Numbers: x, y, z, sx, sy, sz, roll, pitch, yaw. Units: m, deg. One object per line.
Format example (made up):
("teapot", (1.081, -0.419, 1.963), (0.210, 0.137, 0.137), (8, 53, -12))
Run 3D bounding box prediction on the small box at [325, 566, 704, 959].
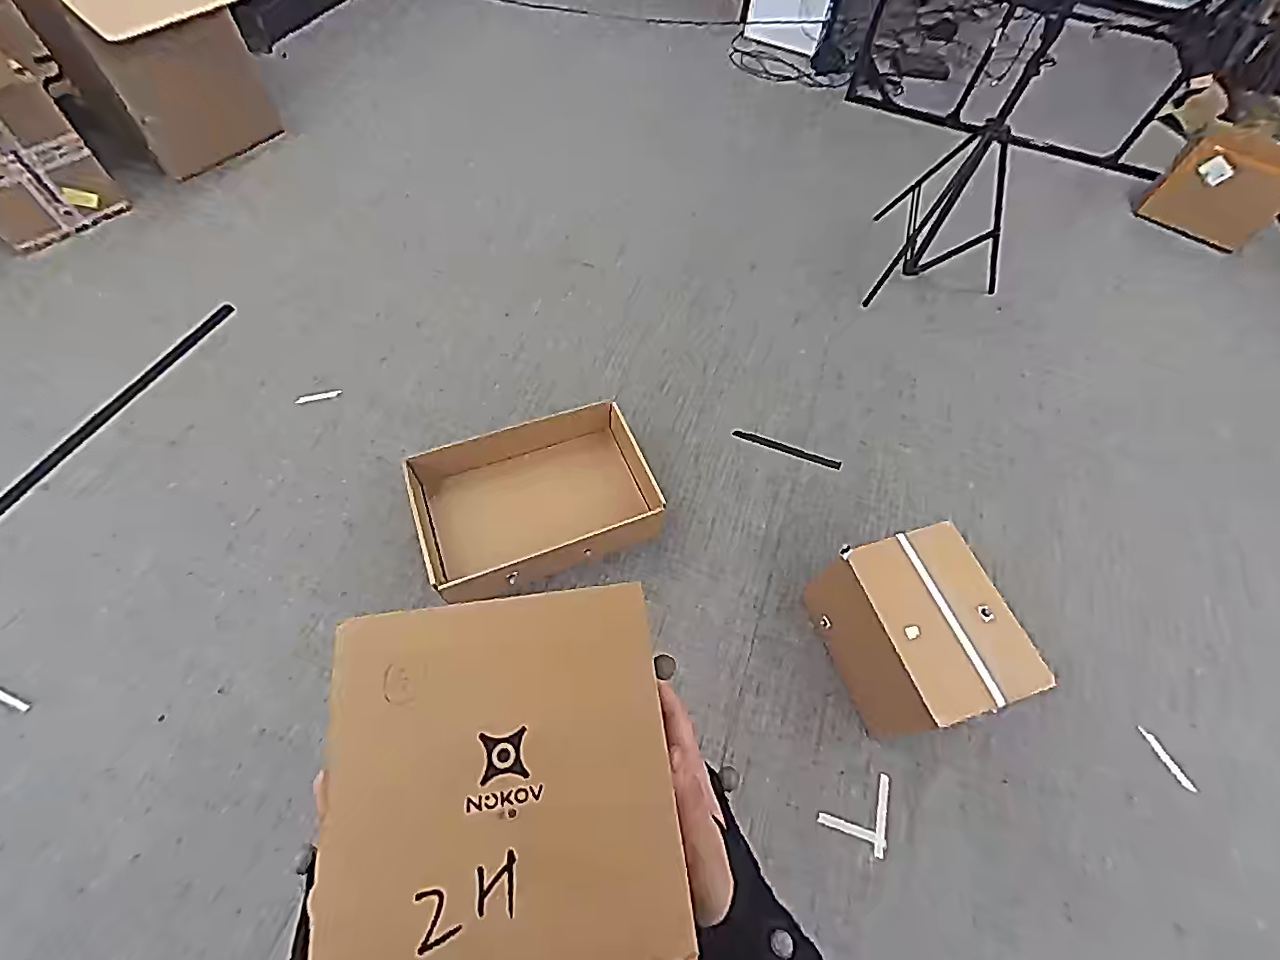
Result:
("small box", (-0.071, 0.169, 0.340), (0.168, 0.176, 0.179), (-6, 66, -9))
